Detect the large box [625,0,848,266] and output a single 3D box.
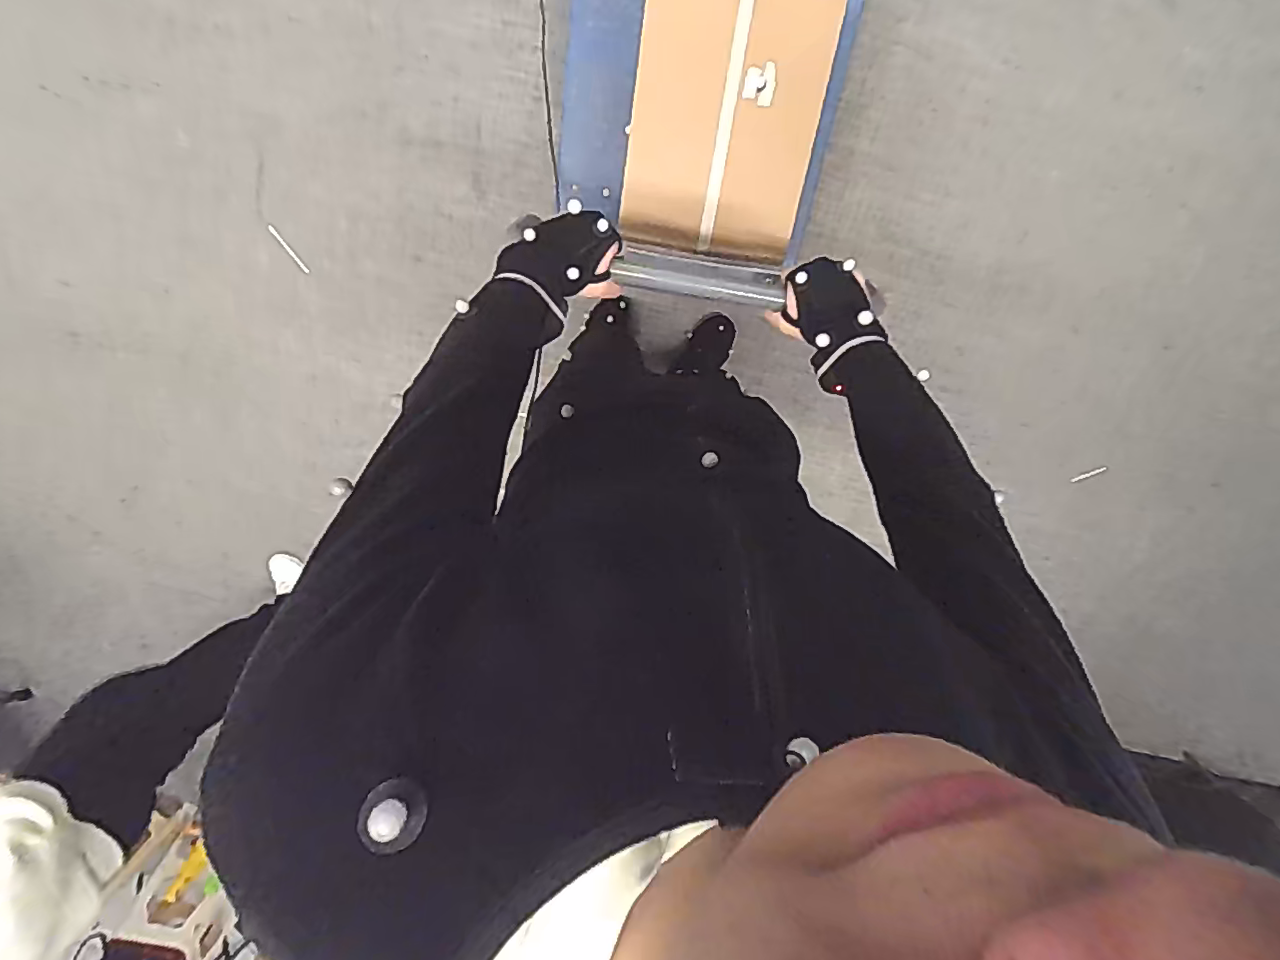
[{"bbox_3d":[0.152,-0.644,1.041,0.320,0.320,0.408,8,112,-3],"label":"large box"}]
